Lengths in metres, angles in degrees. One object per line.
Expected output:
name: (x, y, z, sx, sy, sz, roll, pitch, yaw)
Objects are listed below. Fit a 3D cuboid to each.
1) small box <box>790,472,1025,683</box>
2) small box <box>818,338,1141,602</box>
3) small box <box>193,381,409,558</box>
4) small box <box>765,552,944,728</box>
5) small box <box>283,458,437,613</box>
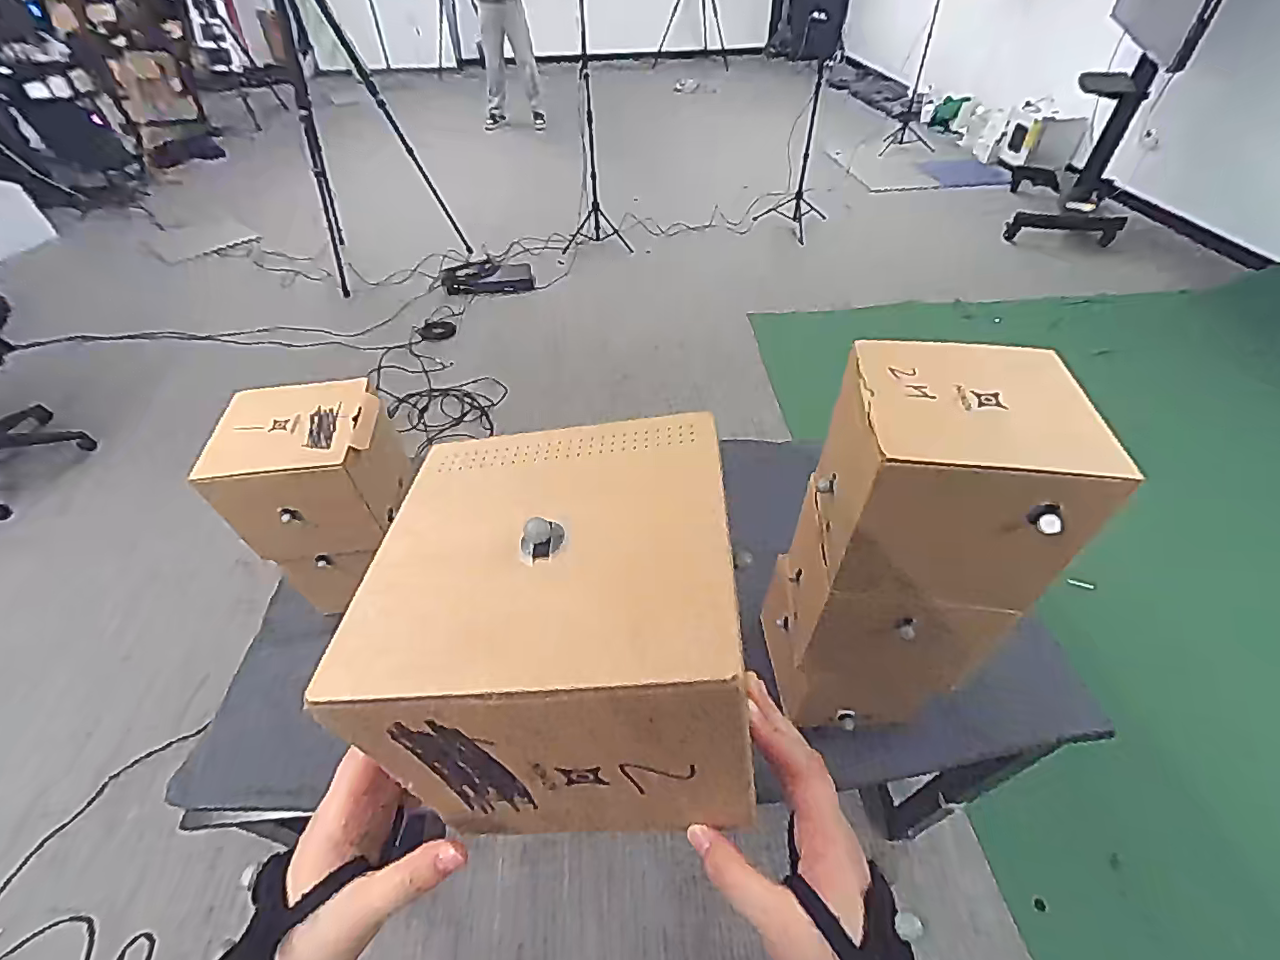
small box: (0.273, 0.110, 0.604, 0.179, 0.176, 0.168, 3, 46, 7)
small box: (0.271, -0.007, 0.488, 0.179, 0.176, 0.168, 4, 45, 8)
small box: (-0.435, -0.011, 0.736, 0.179, 0.176, 0.168, -6, 48, -4)
small box: (0.275, 0.212, 0.731, 0.168, 0.176, 0.179, -4, 47, -1)
small box: (-0.436, 0.088, 0.868, 0.168, 0.176, 0.179, -6, 47, -5)
